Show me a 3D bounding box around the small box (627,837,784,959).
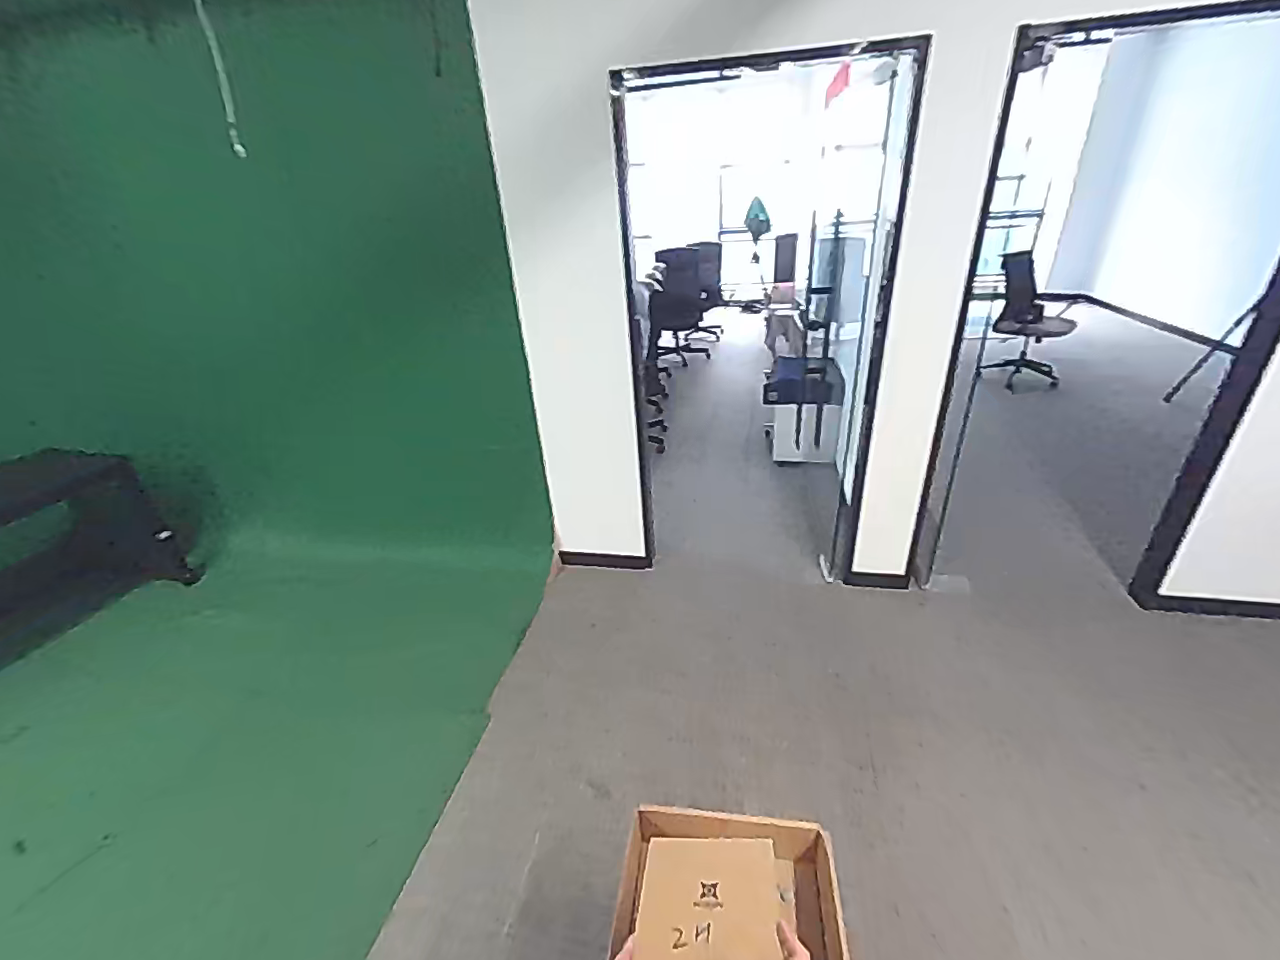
[{"bbox_3d":[0.088,0.572,0.648,0.168,0.176,0.179,-6,9,10],"label":"small box"}]
